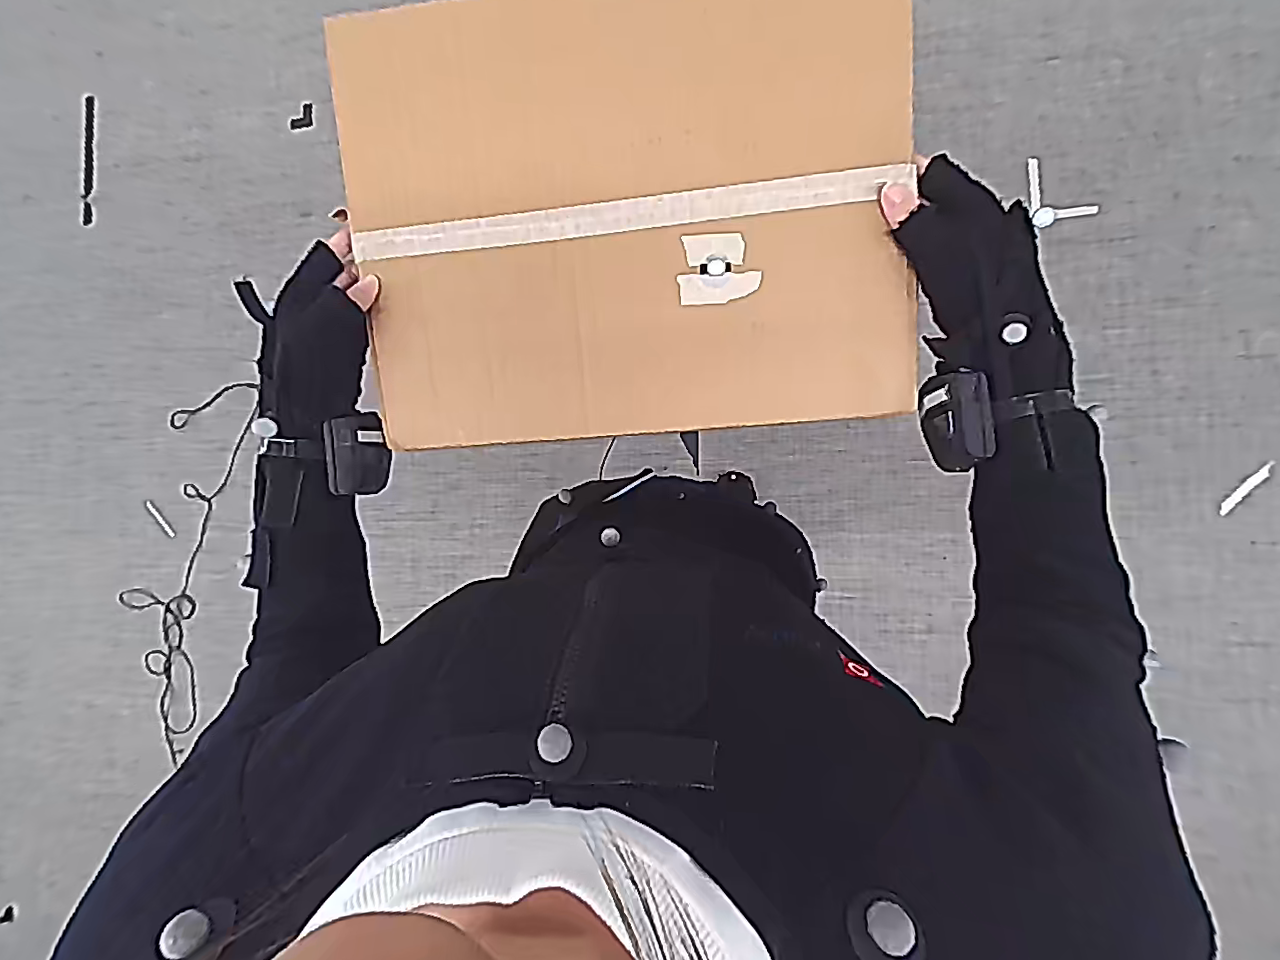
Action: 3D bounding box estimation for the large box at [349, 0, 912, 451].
[{"bbox_3d":[0.003,-0.212,0.549,0.408,0.320,0.320,-4,98,6],"label":"large box"}]
